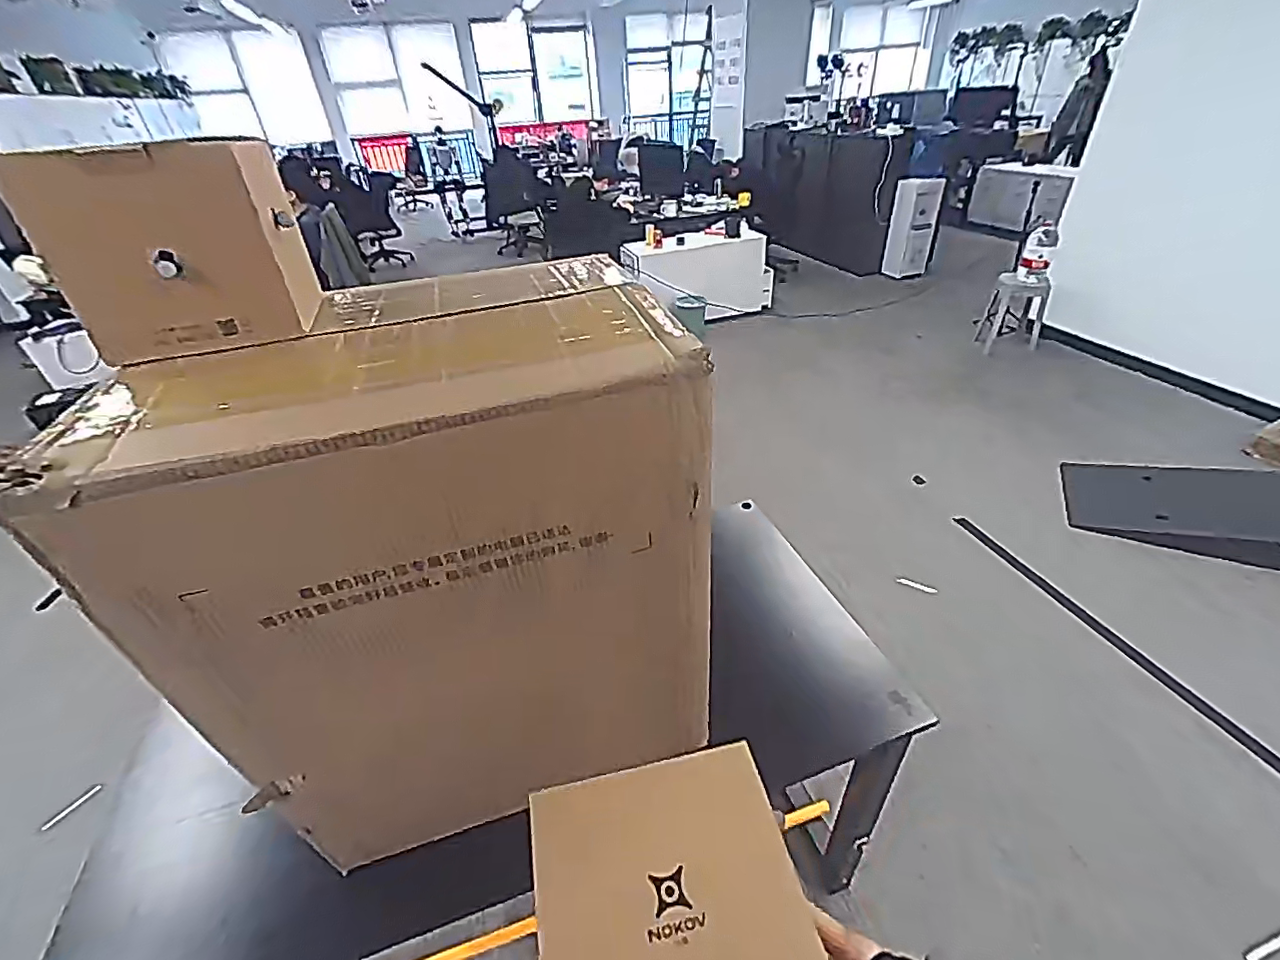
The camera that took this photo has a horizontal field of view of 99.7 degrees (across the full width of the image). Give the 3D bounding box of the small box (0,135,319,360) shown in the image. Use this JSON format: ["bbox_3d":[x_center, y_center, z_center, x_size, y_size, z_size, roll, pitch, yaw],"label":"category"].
[{"bbox_3d":[-0.436,-0.226,0.525,0.168,0.176,0.179,-15,36,-16],"label":"small box"}]

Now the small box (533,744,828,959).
[{"bbox_3d":[0.021,0.324,0.378,0.168,0.176,0.179,-9,39,-8],"label":"small box"}]
